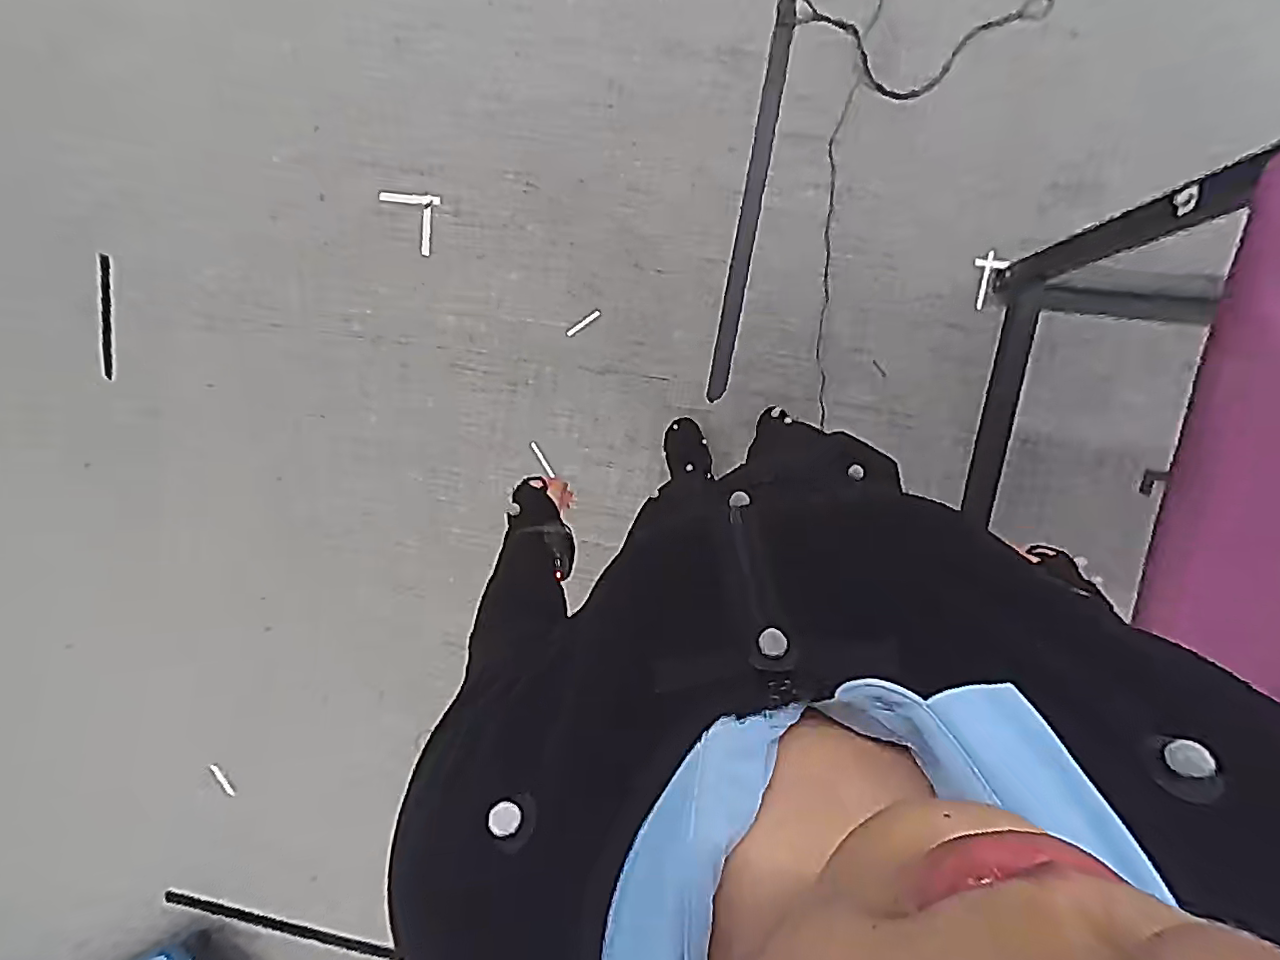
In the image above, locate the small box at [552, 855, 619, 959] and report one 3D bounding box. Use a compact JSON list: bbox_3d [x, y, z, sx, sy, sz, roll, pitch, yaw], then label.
[{"bbox_3d":[-0.155,1.252,1.584,0.168,0.176,0.179,4,99,5],"label":"small box"}]
